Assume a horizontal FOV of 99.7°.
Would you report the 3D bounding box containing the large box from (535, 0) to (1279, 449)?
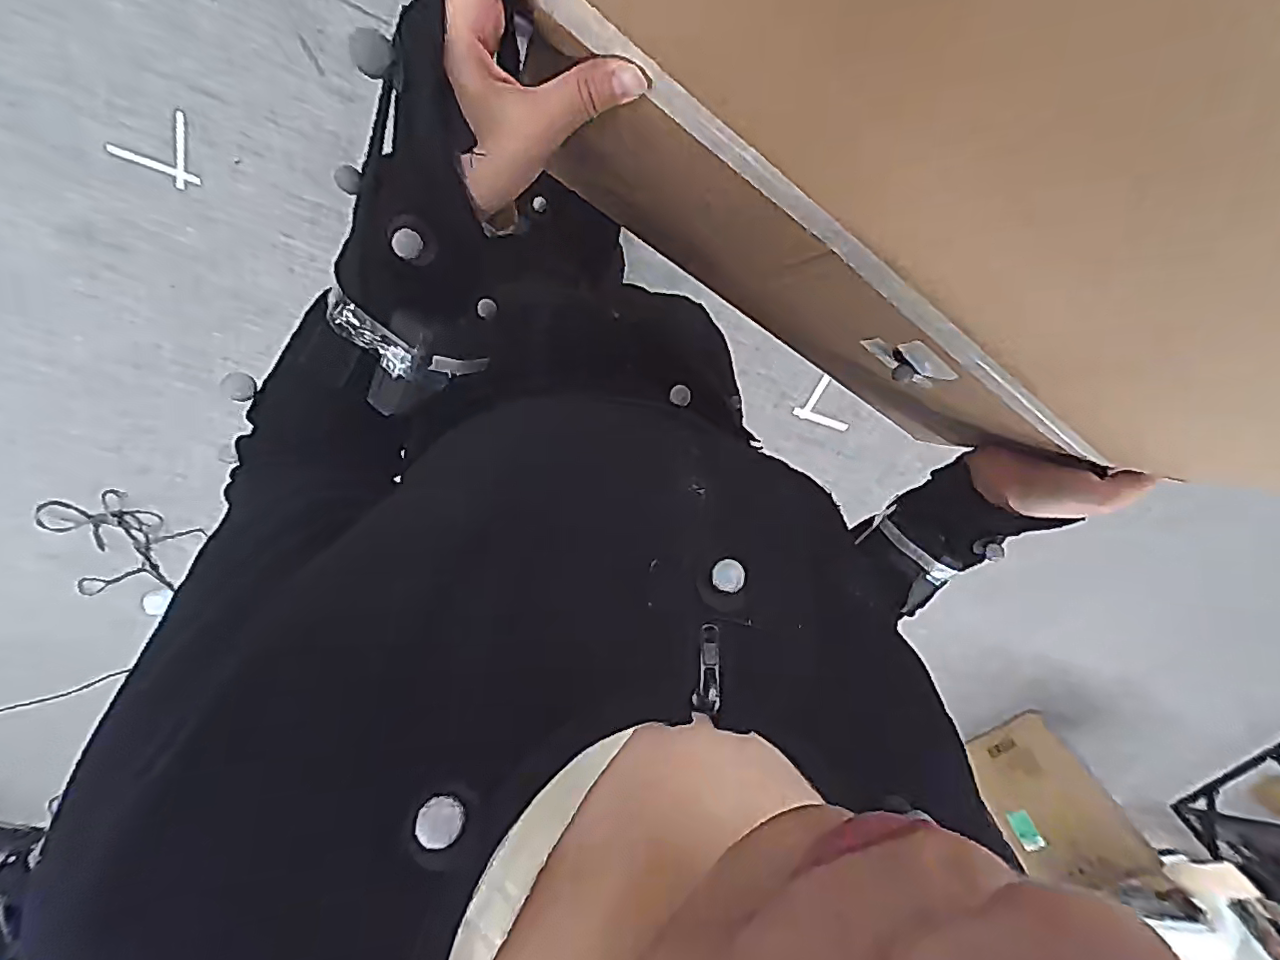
[{"bbox_3d":[0.214,-0.245,0.240,0.408,0.320,0.320,27,92,-21],"label":"large box"}]
